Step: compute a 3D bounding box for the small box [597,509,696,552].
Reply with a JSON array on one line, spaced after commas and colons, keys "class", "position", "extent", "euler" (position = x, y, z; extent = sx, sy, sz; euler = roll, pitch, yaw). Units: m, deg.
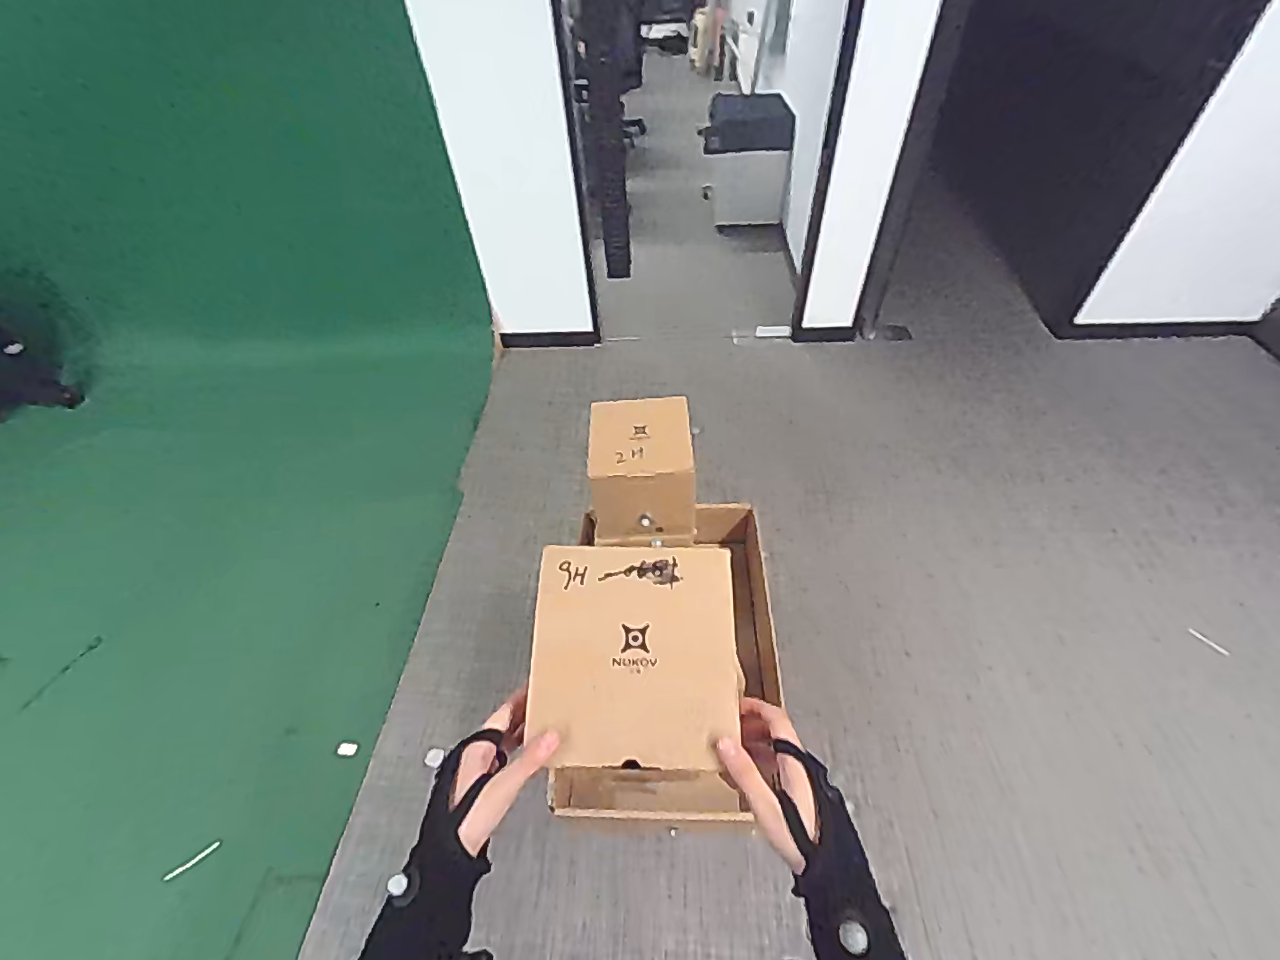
[{"class": "small box", "position": [0.013, 0.099, 1.056], "extent": [0.179, 0.176, 0.168], "euler": [-5, 49, 1]}]

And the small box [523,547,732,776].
[{"class": "small box", "position": [-0.006, 0.171, 0.518], "extent": [0.168, 0.176, 0.179], "euler": [2, 68, 0]}]

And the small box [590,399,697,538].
[{"class": "small box", "position": [0.010, -0.018, 0.939], "extent": [0.168, 0.176, 0.179], "euler": [-3, 49, 3]}]
